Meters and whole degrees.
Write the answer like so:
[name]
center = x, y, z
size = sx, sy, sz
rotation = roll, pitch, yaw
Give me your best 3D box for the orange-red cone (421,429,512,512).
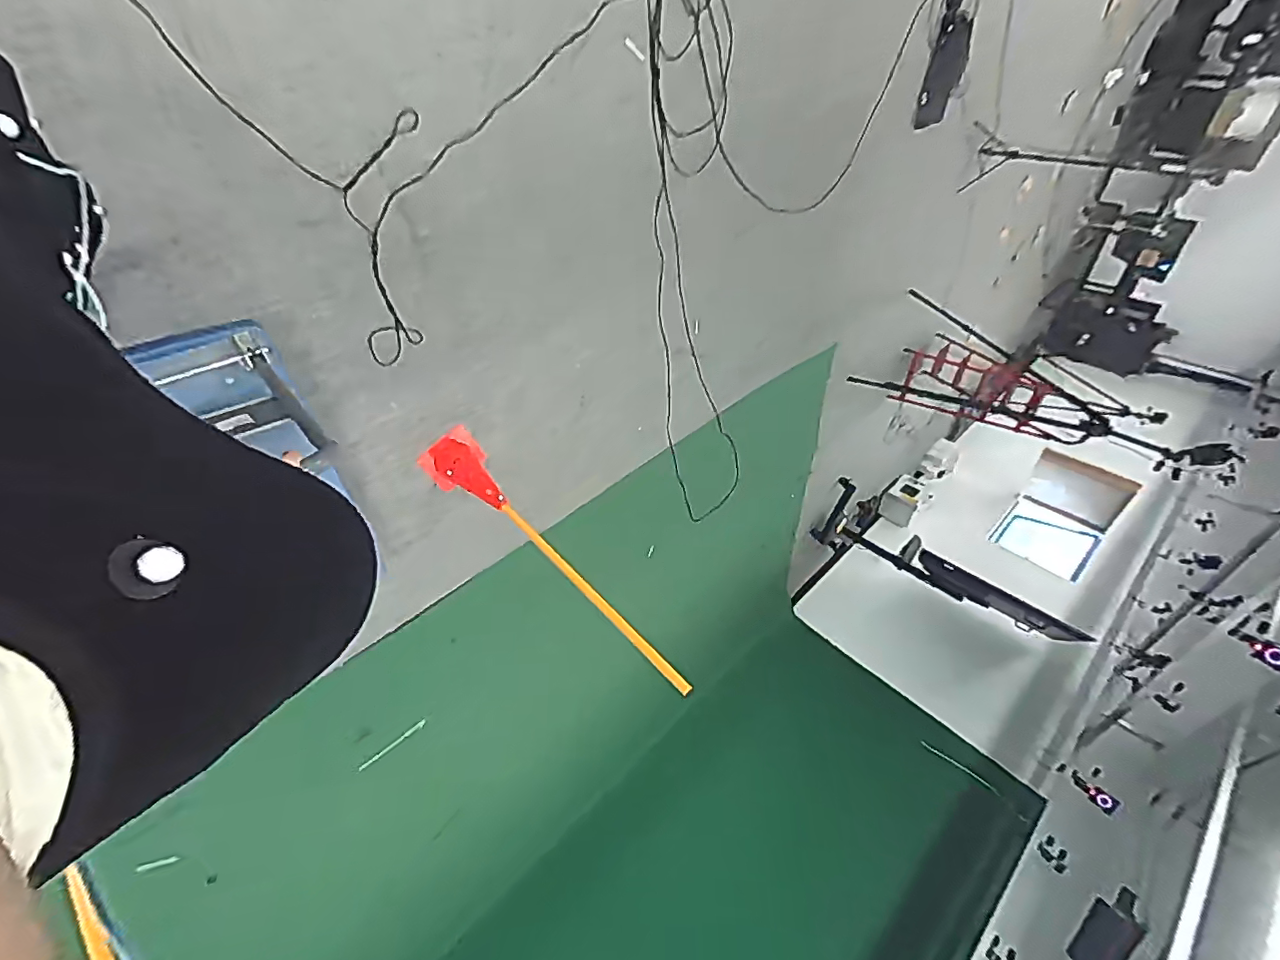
[orange-red cone]
center = -0.550, 0.006, 1.853
size = 0.199, 0.360, 0.198
rotation = -45, 145, -17
